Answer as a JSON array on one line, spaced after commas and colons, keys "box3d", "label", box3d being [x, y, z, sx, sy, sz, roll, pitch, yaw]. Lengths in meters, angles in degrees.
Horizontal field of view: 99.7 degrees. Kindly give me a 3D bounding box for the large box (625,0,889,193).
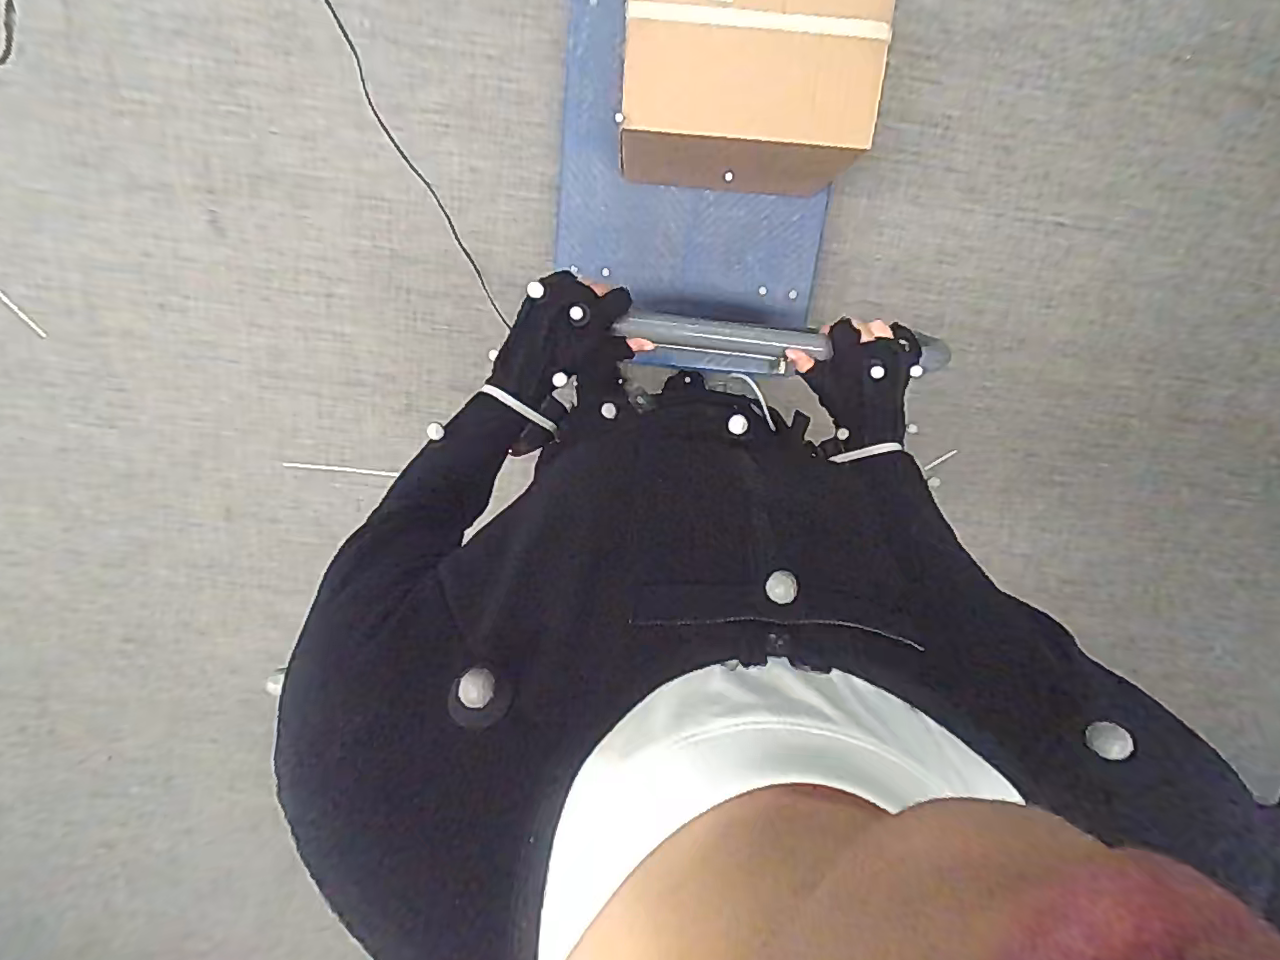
[{"box3d": [0.181, -0.728, 0.977, 0.408, 0.320, 0.320, 3, 104, -1], "label": "large box"}]
